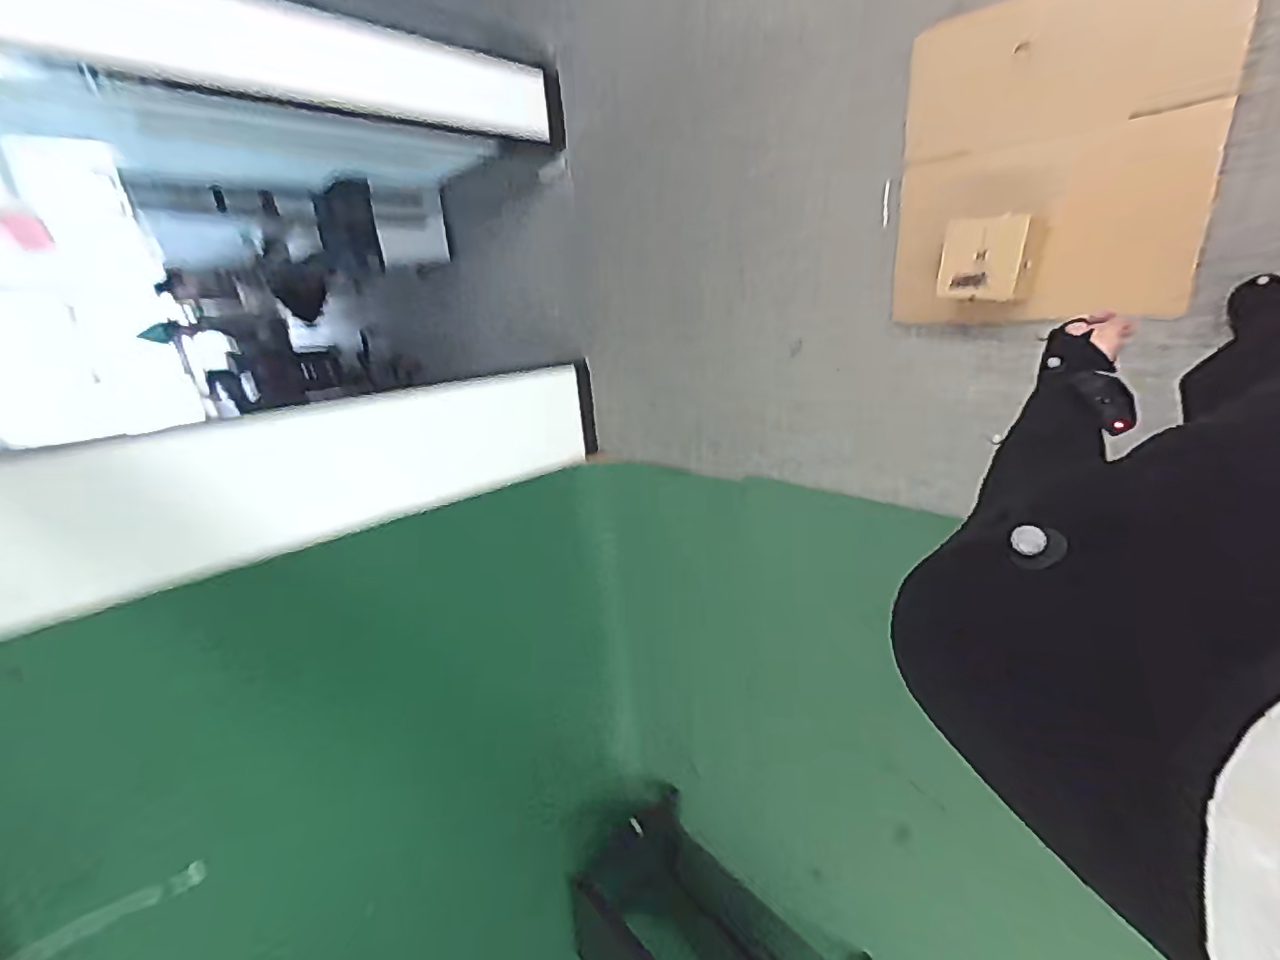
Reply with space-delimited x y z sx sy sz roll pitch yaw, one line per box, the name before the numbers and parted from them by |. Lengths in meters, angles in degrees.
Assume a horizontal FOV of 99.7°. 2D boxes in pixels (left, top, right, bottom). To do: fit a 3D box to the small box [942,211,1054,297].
small box | 0.848 -0.532 1.280 0.168 0.176 0.179 21 120 43
